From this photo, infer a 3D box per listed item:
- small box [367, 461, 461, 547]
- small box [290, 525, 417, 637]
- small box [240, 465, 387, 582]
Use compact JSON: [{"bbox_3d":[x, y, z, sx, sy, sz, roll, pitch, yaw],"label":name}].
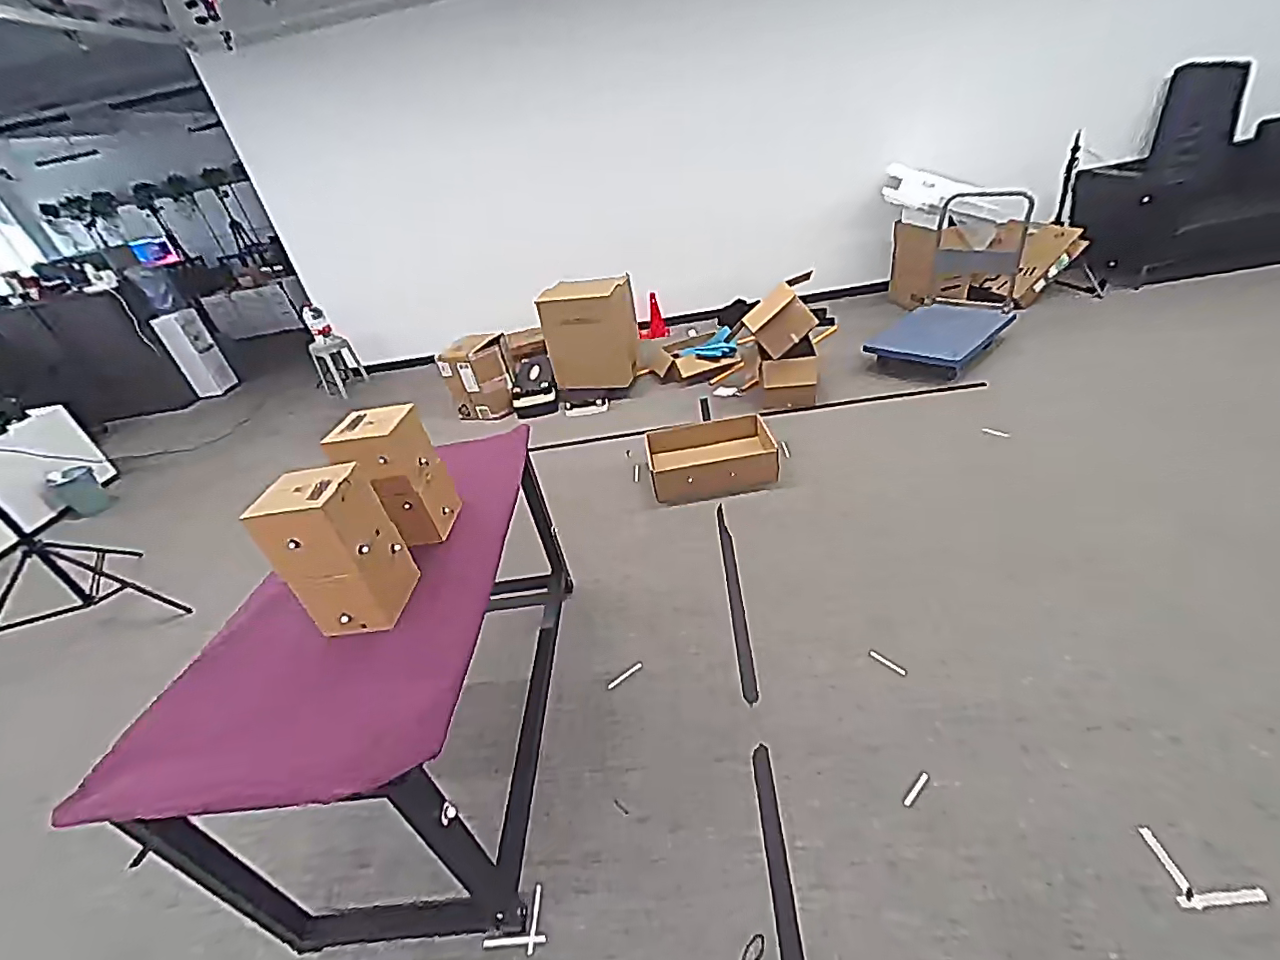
[{"bbox_3d":[-0.613,0.071,1.456,0.179,0.176,0.168,-8,33,7],"label":"small box"},{"bbox_3d":[-0.631,0.227,1.222,0.168,0.176,0.179,-8,33,7],"label":"small box"},{"bbox_3d":[-0.666,0.093,1.134,0.179,0.176,0.168,-9,32,5],"label":"small box"}]
